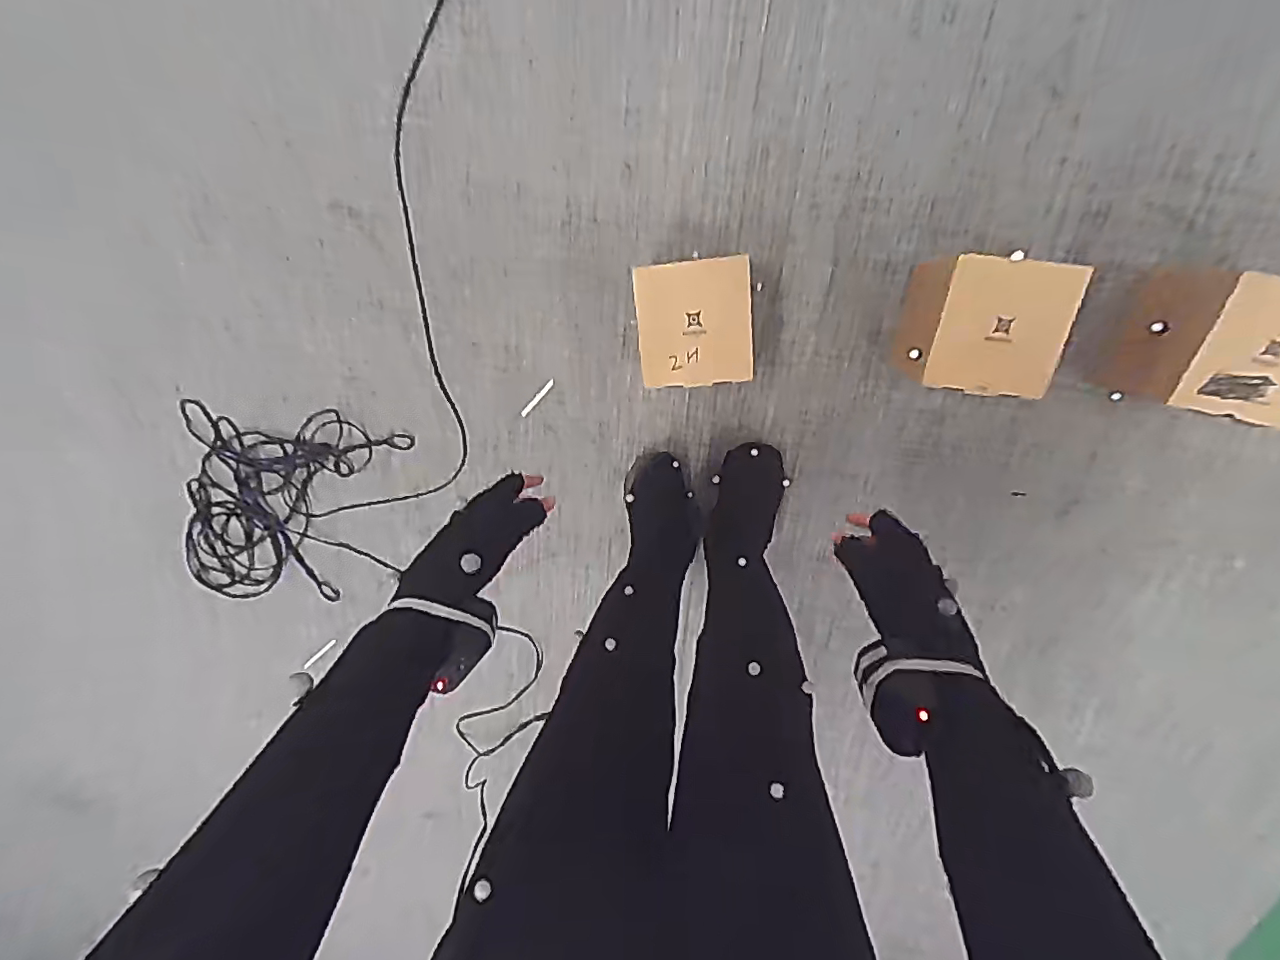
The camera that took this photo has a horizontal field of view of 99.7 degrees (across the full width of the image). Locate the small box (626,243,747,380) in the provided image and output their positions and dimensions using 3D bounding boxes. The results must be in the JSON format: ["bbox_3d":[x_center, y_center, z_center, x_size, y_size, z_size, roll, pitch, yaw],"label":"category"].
[{"bbox_3d":[0.078,-0.262,0.843,0.168,0.176,0.179,-3,110,11],"label":"small box"}]

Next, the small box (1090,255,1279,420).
[{"bbox_3d":[0.791,-0.204,0.757,0.168,0.176,0.179,14,112,3],"label":"small box"}]

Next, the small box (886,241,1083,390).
[{"bbox_3d":[0.480,-0.243,0.790,0.168,0.176,0.179,8,112,6],"label":"small box"}]
